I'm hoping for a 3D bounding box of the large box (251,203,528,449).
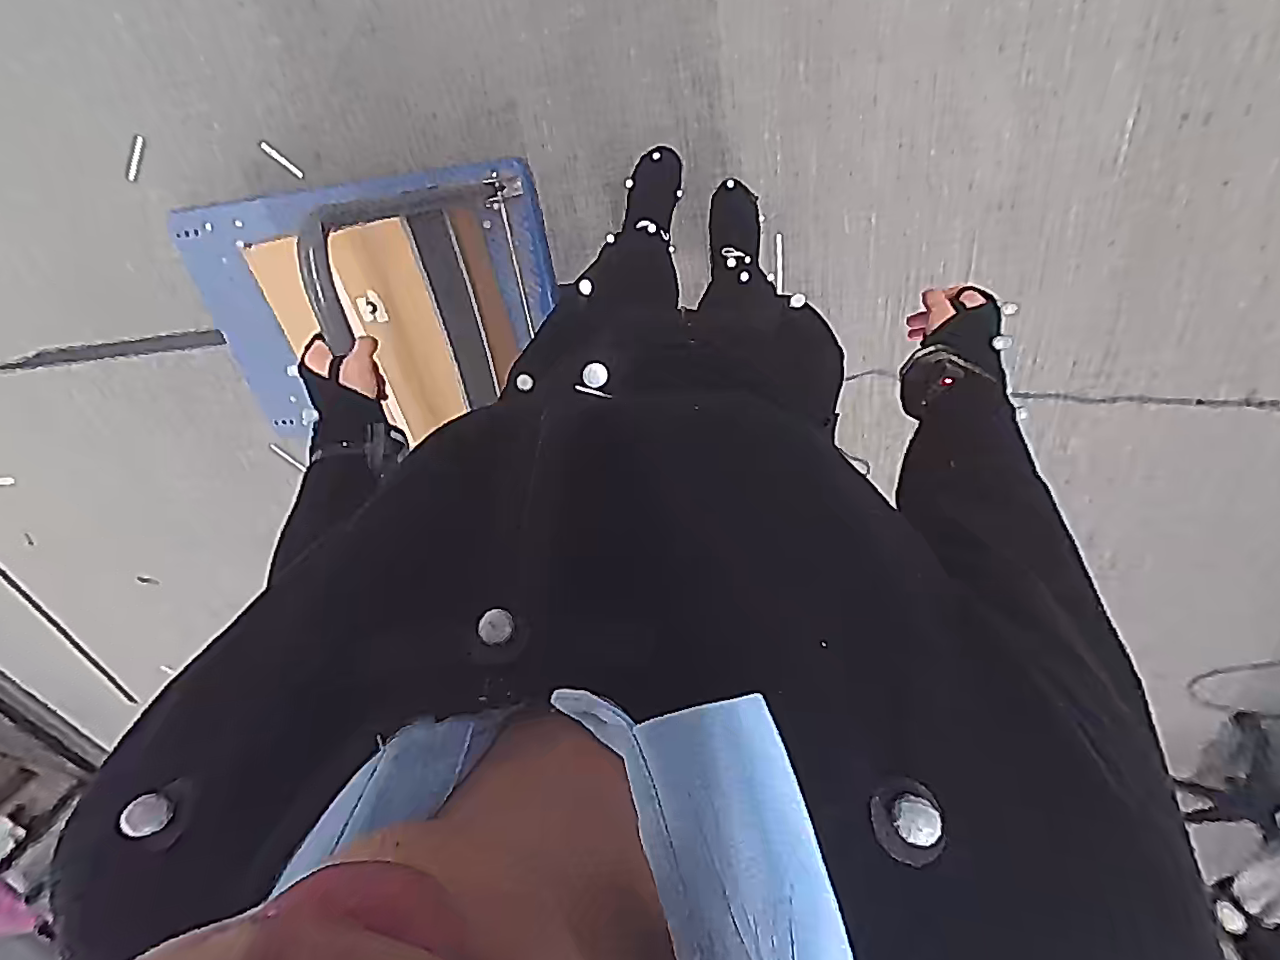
[{"bbox_3d":[-0.473,-0.322,1.129,0.320,0.320,0.408,-6,119,11],"label":"large box"}]
